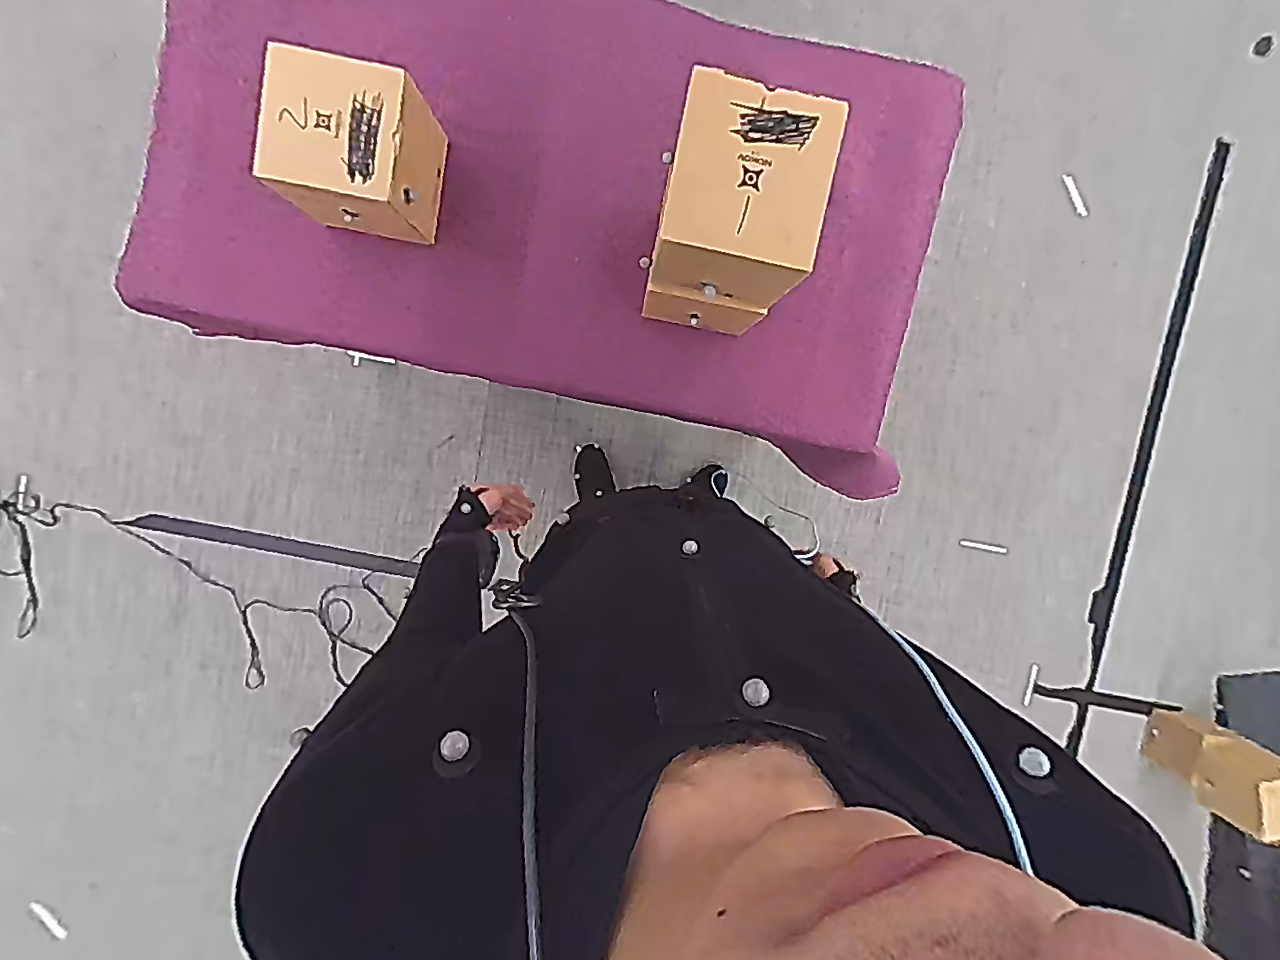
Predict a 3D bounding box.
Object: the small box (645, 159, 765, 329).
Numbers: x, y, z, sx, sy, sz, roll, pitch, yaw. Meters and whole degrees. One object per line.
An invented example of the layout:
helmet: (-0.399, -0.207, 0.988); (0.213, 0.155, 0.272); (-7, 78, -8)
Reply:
small box: (0.103, -0.334, 0.801); (0.168, 0.176, 0.179); (11, 95, -4)

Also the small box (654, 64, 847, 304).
small box: (0.114, -0.328, 0.637); (0.168, 0.176, 0.179); (12, 95, -3)
